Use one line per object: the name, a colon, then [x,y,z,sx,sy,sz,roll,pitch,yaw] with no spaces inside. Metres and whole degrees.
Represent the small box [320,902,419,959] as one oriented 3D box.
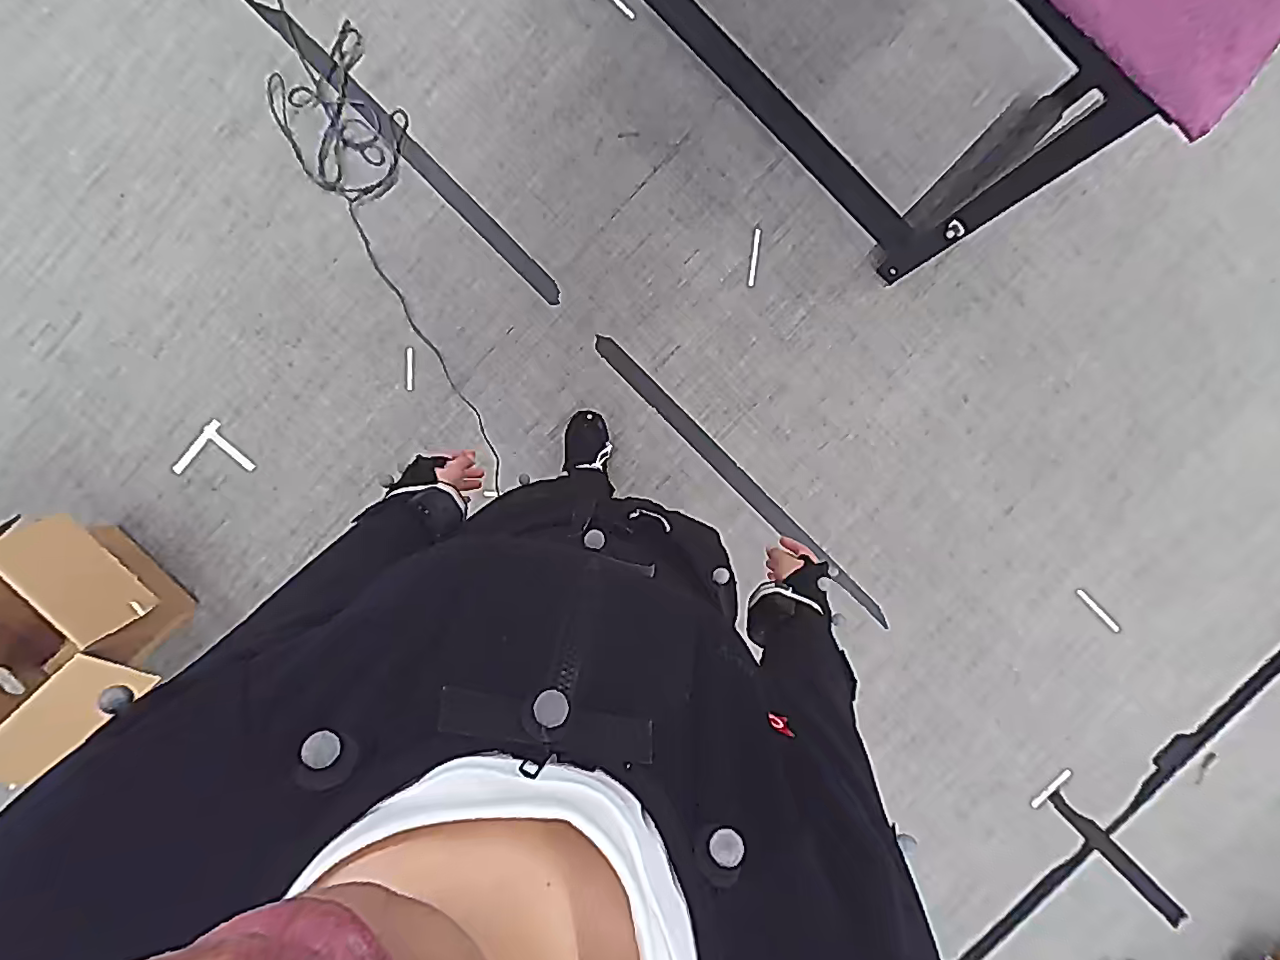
small box: [-0.627,1.107,1.197,0.168,0.176,0.179,42,92,-3]
